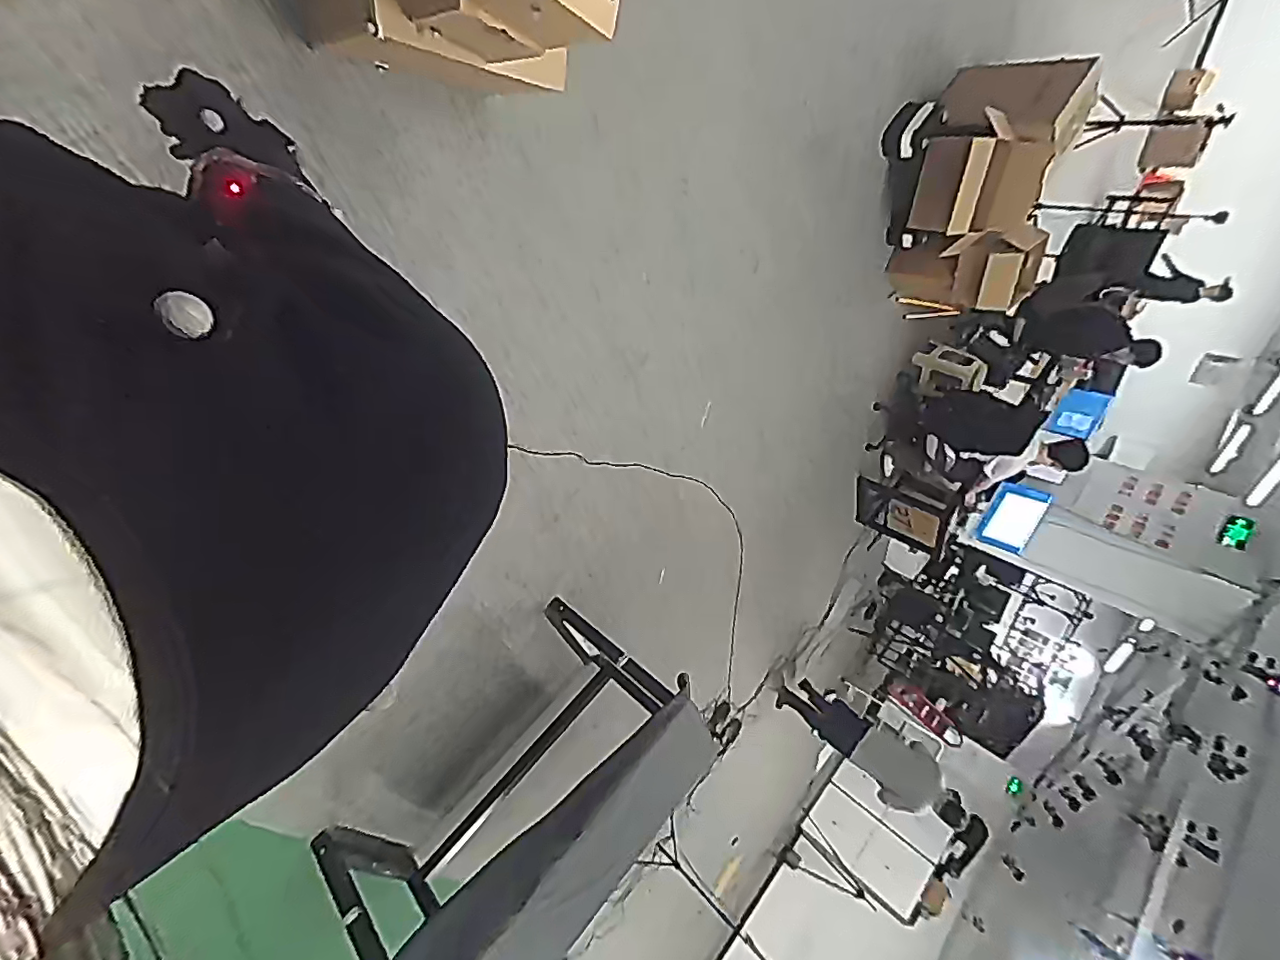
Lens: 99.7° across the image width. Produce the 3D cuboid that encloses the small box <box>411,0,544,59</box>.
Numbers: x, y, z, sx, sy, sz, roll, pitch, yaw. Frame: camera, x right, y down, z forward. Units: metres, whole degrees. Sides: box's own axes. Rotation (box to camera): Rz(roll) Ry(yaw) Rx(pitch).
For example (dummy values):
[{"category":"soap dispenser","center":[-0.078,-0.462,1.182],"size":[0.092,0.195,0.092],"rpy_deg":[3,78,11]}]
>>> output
[{"category":"small box","center":[-0.265,-0.839,0.901],"size":[0.168,0.176,0.179],"rpy_deg":[-10,120,-46]}]

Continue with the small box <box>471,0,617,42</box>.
[{"category":"small box","center":[-0.145,-0.790,0.805],"size":[0.179,0.176,0.168],"rpy_deg":[-12,120,-46]}]
